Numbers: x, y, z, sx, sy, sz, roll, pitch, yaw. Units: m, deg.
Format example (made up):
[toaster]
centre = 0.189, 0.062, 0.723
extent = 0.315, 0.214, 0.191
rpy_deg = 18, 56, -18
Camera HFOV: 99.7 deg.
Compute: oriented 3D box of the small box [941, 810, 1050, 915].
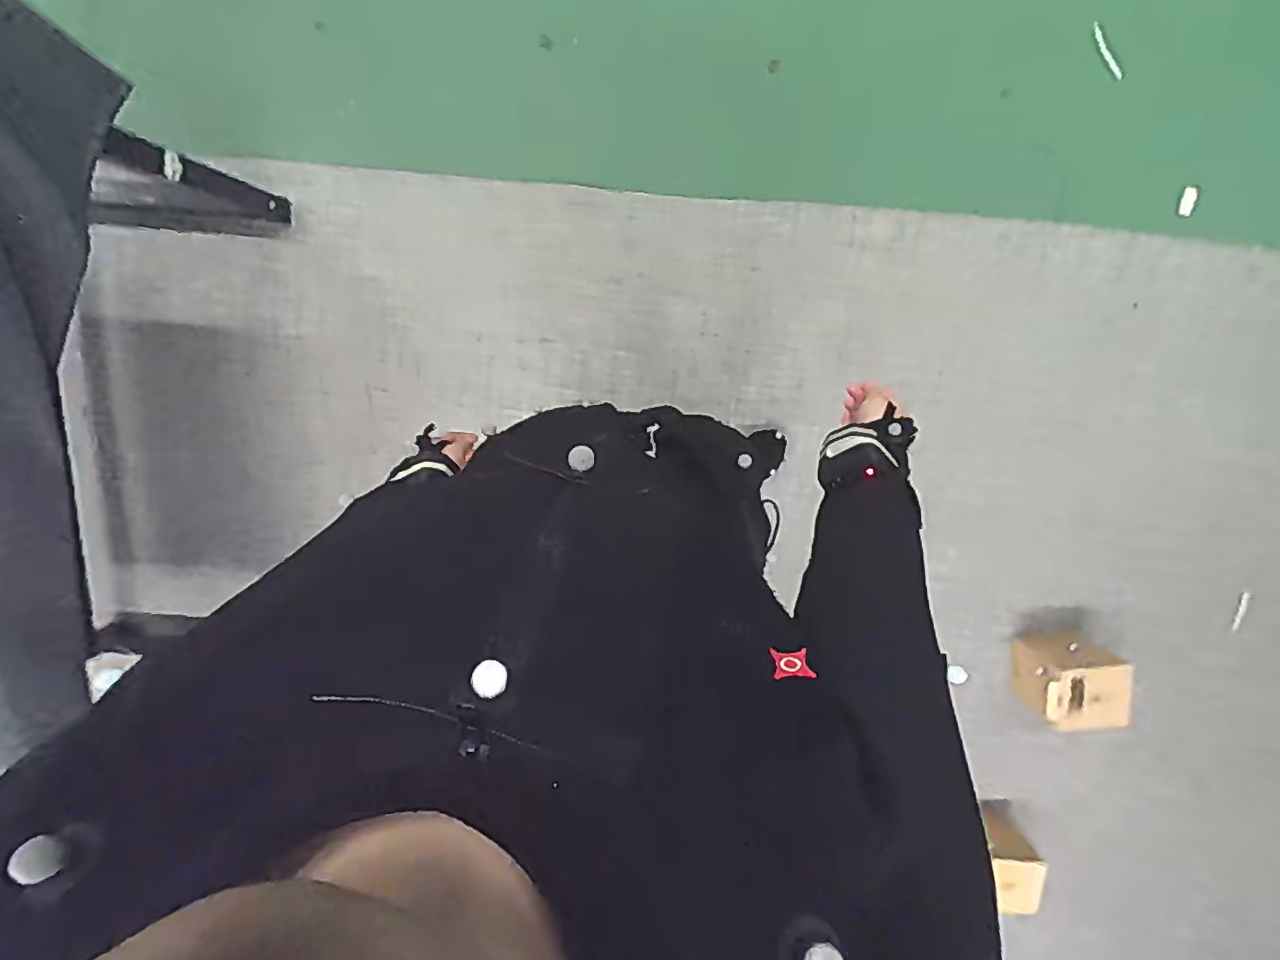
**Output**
[small box]
centre = 0.965, 1.041, 1.482
extent = 0.179, 0.176, 0.168
rpy_deg = 3, 103, 1
